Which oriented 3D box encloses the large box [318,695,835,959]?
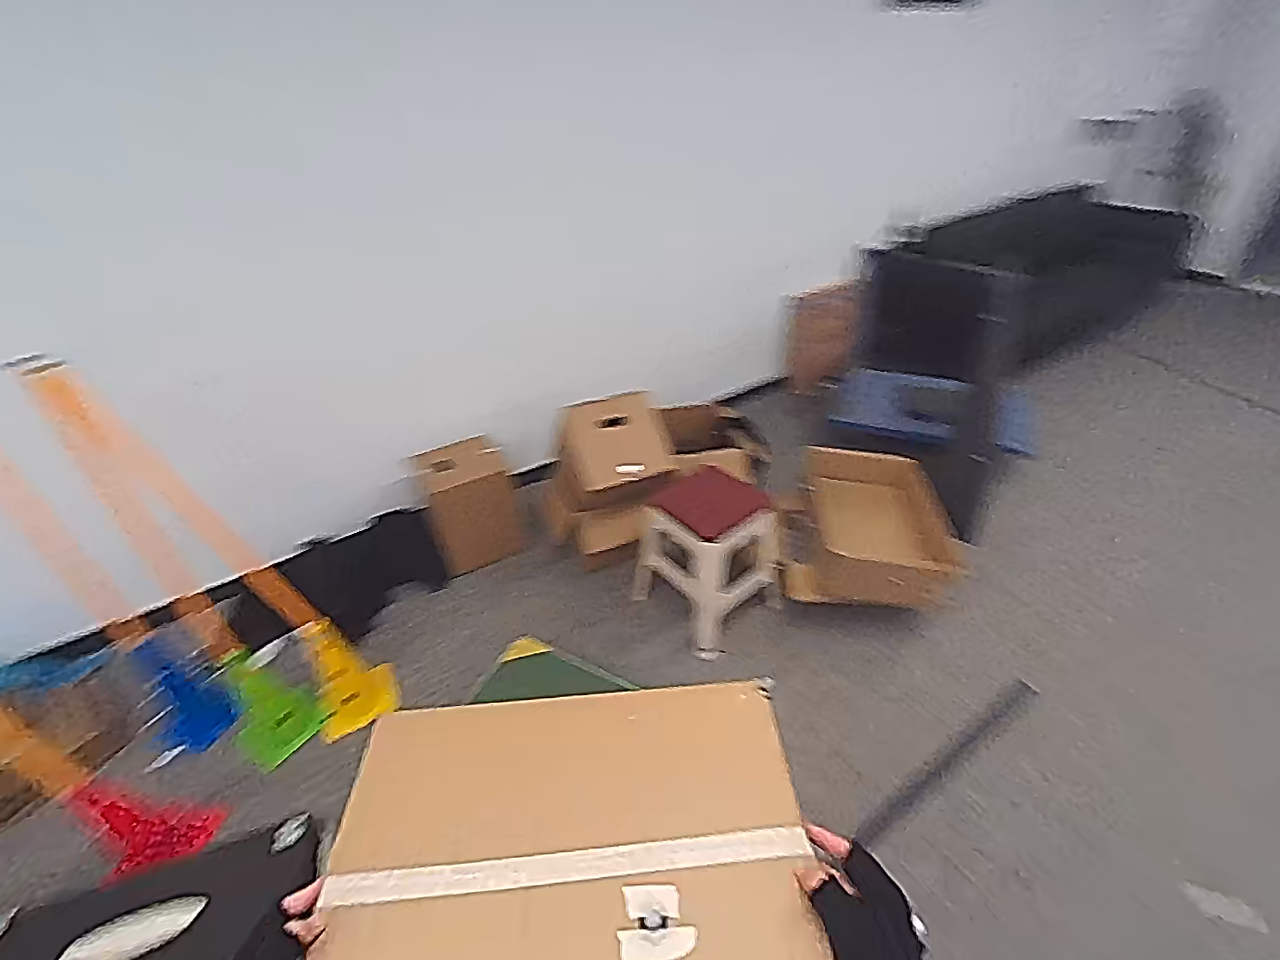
[{"bbox_3d":[-0.052,0.455,0.544,0.408,0.320,0.320,-3,38,-2],"label":"large box"}]
